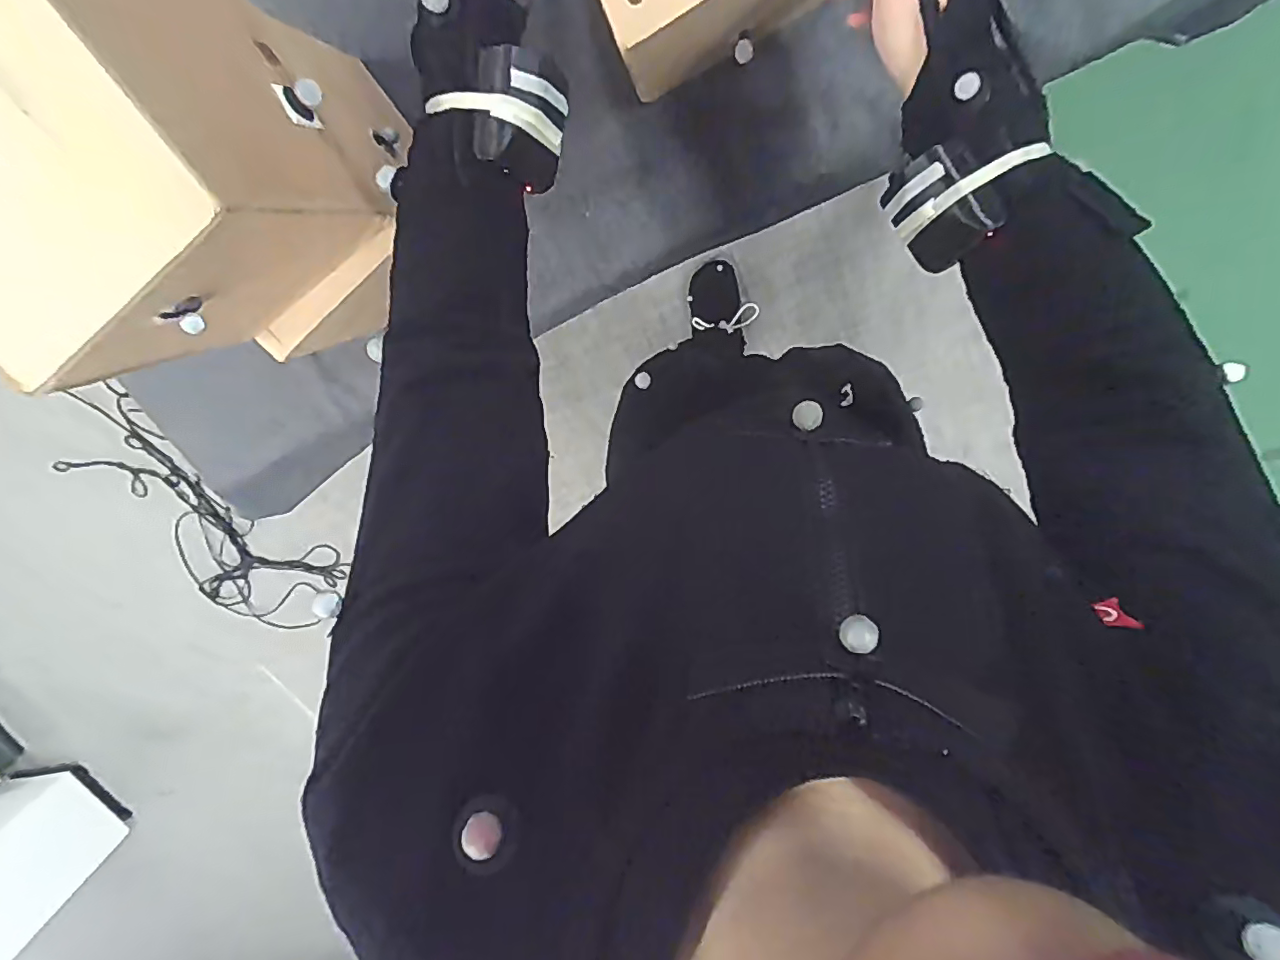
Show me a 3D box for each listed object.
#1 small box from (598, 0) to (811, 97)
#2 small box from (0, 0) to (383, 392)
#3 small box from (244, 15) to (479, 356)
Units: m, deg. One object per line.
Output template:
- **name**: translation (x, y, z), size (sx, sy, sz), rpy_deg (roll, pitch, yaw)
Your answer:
- **small box**: translation (0.038, -0.394, 0.354), size (0.179, 0.176, 0.168), rpy_deg (-22, 112, 16)
- **small box**: translation (-0.292, -0.180, 0.306), size (0.179, 0.176, 0.168), rpy_deg (-28, 111, 17)
- **small box**: translation (-0.273, -0.236, 0.459), size (0.168, 0.176, 0.179), rpy_deg (-32, 109, 19)
